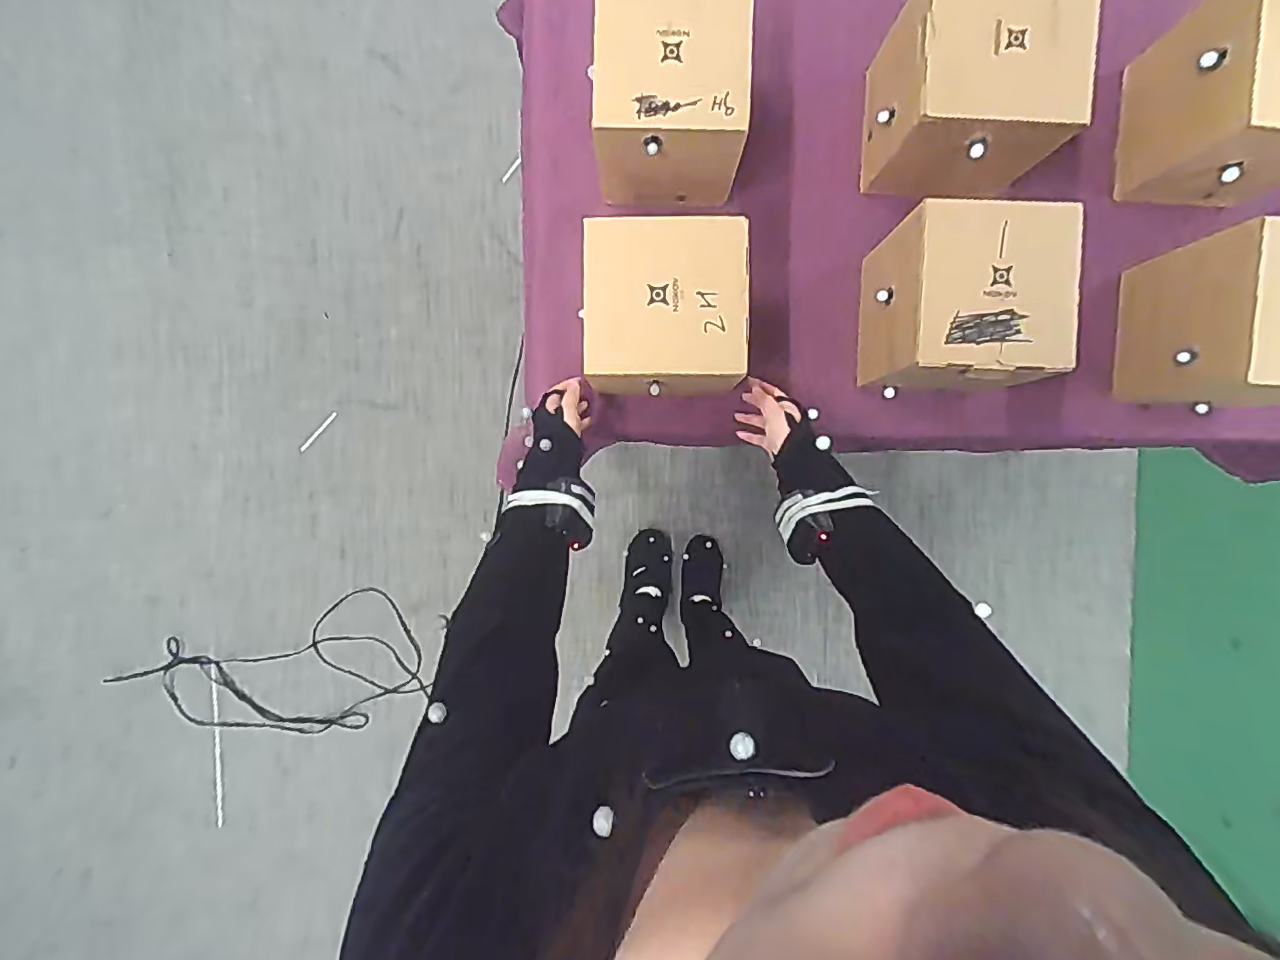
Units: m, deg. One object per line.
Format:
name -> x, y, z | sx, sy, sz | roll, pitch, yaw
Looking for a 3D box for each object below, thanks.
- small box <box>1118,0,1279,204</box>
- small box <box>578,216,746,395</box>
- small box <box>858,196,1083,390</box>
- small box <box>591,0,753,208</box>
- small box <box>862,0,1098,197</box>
small box -> 0.707, -0.445, 0.625 | 0.168, 0.176, 0.179 | 4, 91, 2
small box -> 0.025, -0.195, 0.646 | 0.179, 0.176, 0.168 | 1, 92, 1
small box -> 0.371, -0.205, 0.638 | 0.168, 0.176, 0.179 | 2, 90, 1
small box -> 0.034, -0.453, 0.640 | 0.168, 0.176, 0.179 | 2, 91, 1
small box -> 0.379, -0.455, 0.633 | 0.179, 0.176, 0.168 | 4, 92, 1
